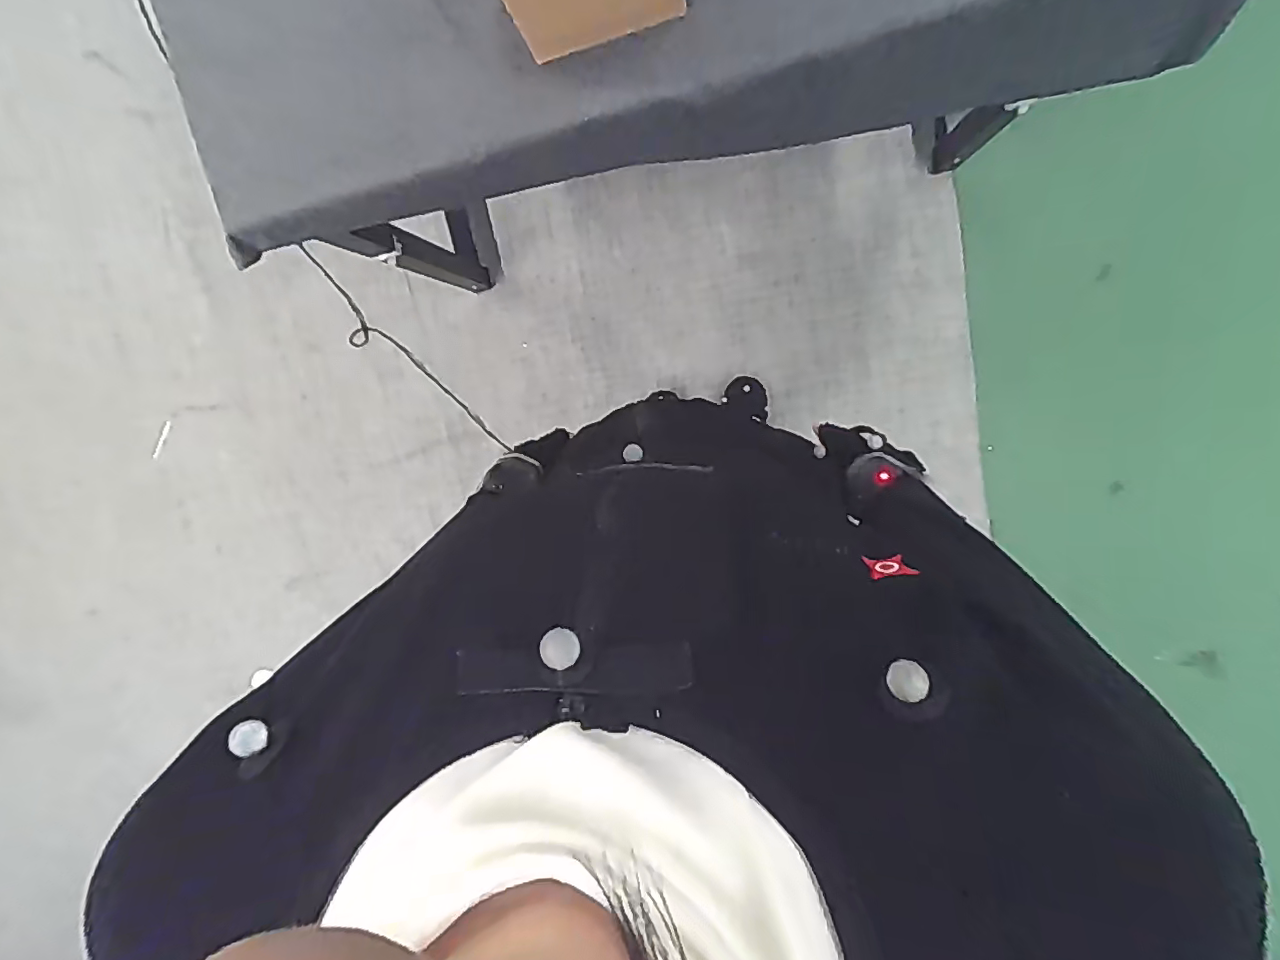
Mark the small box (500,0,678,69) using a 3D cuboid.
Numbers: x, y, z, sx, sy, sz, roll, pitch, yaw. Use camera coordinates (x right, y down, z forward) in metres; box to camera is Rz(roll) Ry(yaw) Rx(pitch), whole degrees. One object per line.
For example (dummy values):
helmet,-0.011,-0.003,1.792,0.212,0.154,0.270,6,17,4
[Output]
small box,-0.060,-0.552,0.523,0.179,0.176,0.168,-11,98,11
